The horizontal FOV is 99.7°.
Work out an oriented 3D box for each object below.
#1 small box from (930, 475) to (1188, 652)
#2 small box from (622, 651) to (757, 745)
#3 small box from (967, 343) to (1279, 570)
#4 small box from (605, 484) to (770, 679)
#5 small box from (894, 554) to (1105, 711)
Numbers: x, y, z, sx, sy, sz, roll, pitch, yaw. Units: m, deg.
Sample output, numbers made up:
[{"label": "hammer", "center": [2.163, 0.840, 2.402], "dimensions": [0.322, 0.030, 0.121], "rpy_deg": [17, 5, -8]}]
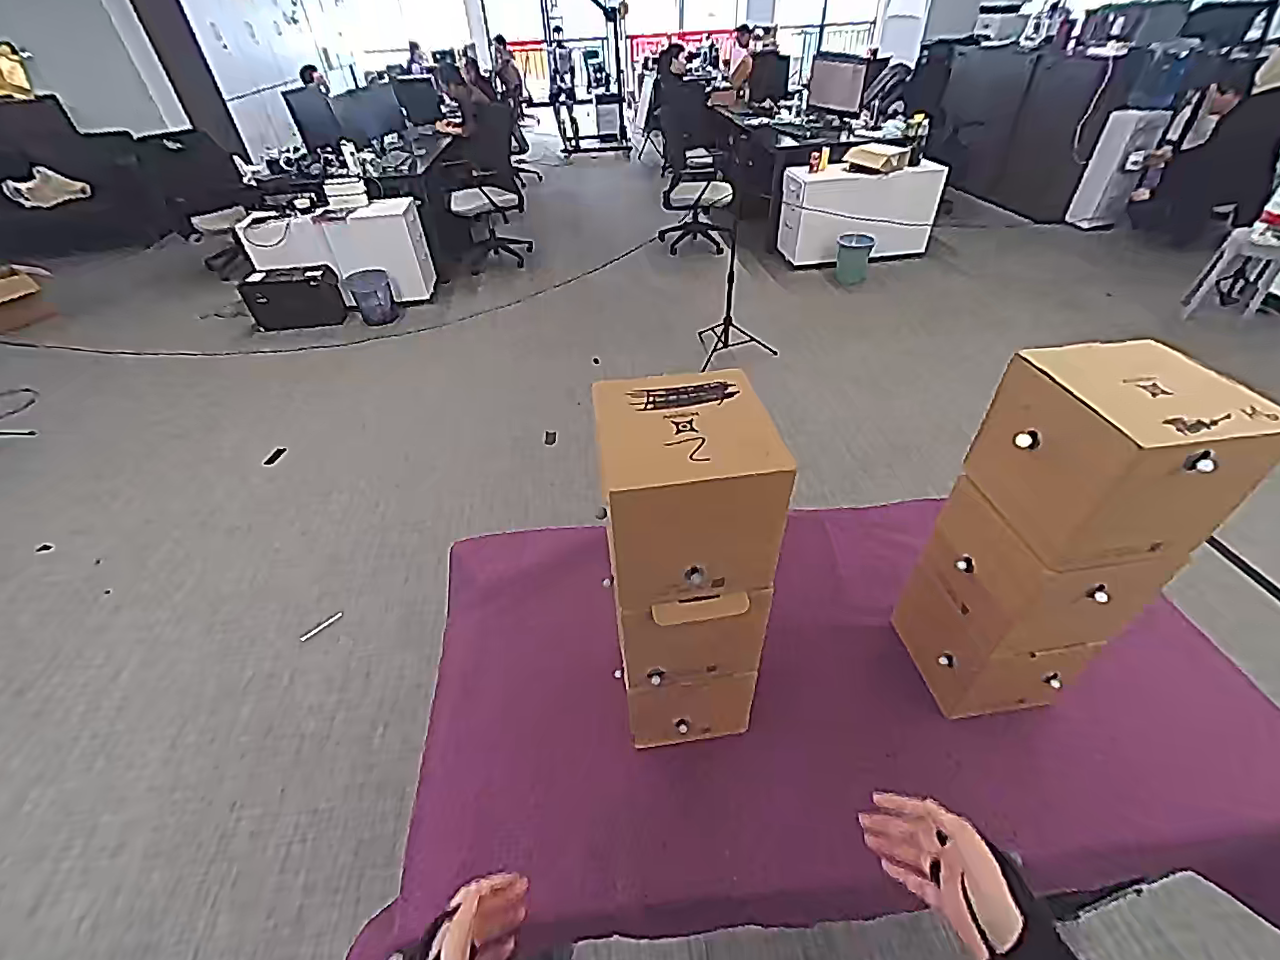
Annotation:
[{"label": "small box", "center": [0.499, 0.099, 0.686], "dimensions": [0.179, 0.176, 0.168], "rpy_deg": [-7, 42, -5]}, {"label": "small box", "center": [0.059, 0.255, 0.788], "dimensions": [0.168, 0.176, 0.179], "rpy_deg": [-7, 42, -4]}, {"label": "small box", "center": [0.497, -0.028, 0.582], "dimensions": [0.168, 0.176, 0.179], "rpy_deg": [-6, 41, -4]}, {"label": "small box", "center": [0.051, 0.131, 0.680], "dimensions": [0.168, 0.176, 0.179], "rpy_deg": [-7, 41, -6]}, {"label": "small box", "center": [0.507, 0.221, 0.796], "dimensions": [0.168, 0.176, 0.179], "rpy_deg": [-6, 41, -4]}]
